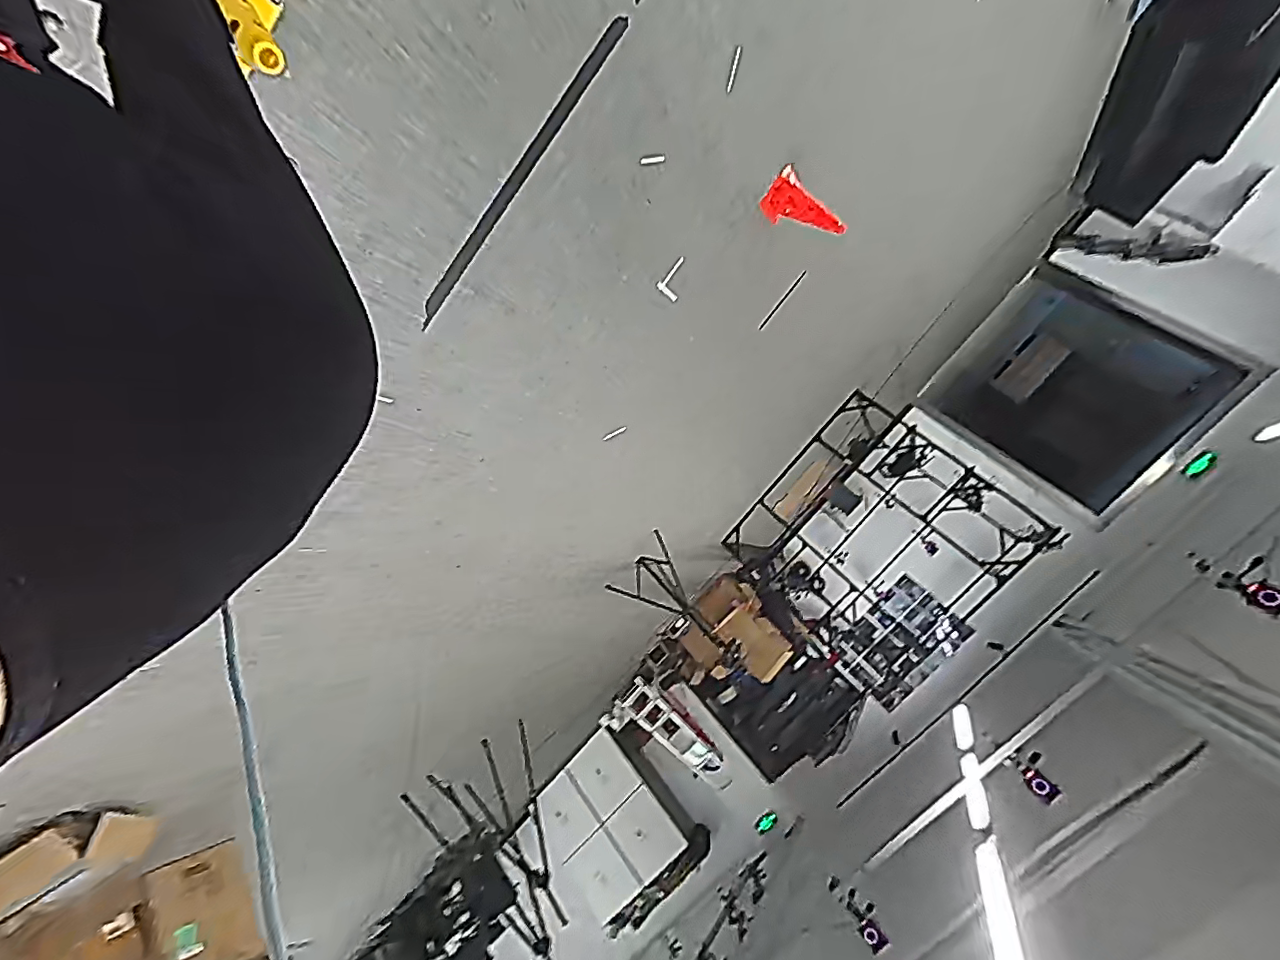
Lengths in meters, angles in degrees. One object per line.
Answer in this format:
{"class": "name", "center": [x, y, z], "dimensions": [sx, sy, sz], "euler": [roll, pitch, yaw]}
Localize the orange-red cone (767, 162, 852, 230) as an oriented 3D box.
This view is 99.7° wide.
{"class": "orange-red cone", "center": [0.754, -1.170, 2.318], "dimensions": [0.199, 0.360, 0.198], "euler": [-54, 154, 15]}
